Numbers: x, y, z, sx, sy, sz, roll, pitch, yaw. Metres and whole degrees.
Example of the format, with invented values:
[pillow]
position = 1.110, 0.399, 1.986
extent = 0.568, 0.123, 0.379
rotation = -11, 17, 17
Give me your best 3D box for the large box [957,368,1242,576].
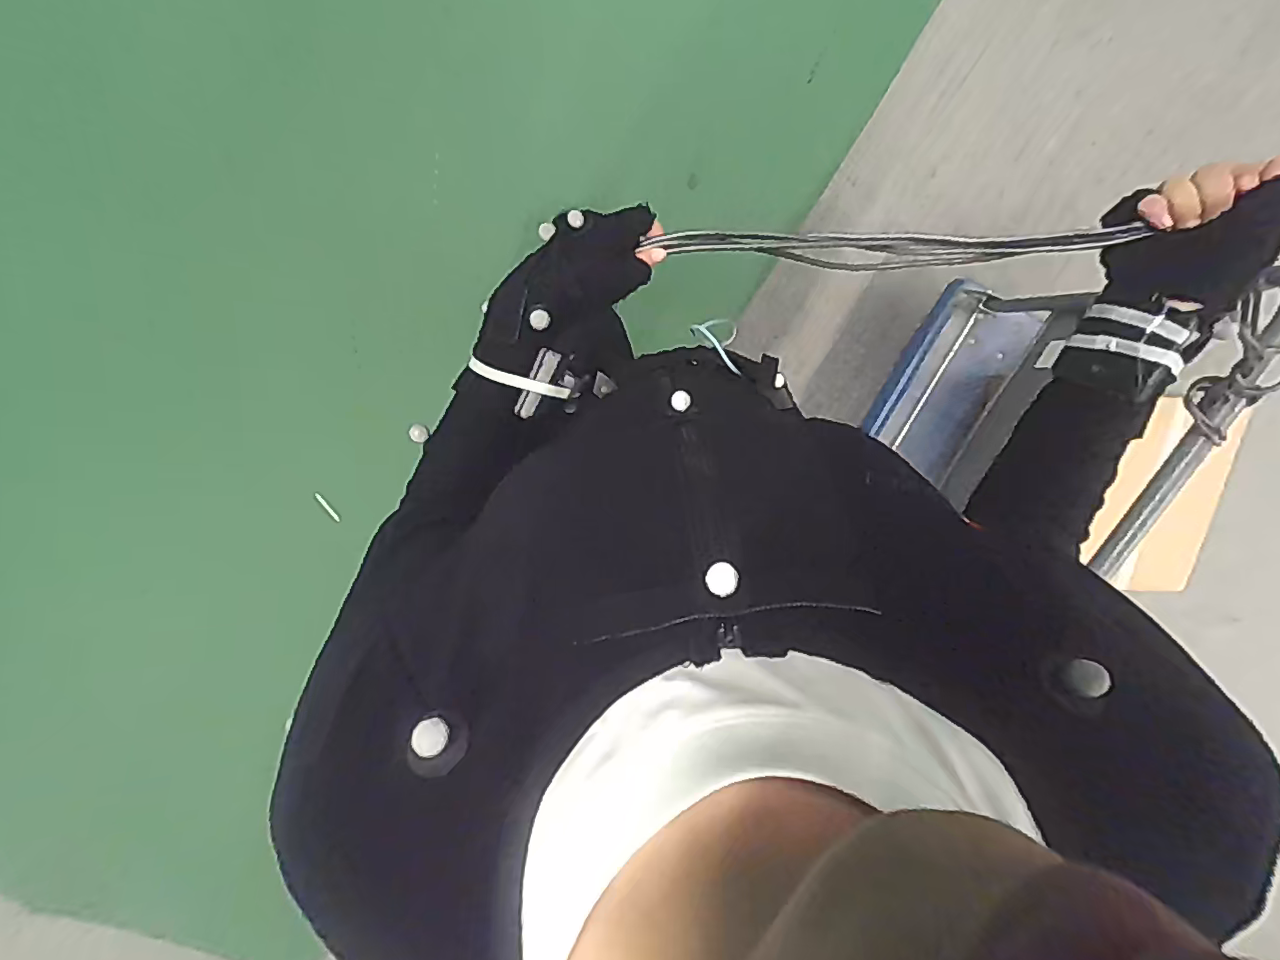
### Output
[large box]
position = 0.987, -0.032, 1.223
extent = 0.320, 0.320, 0.408
rotation = 3, 106, -5
